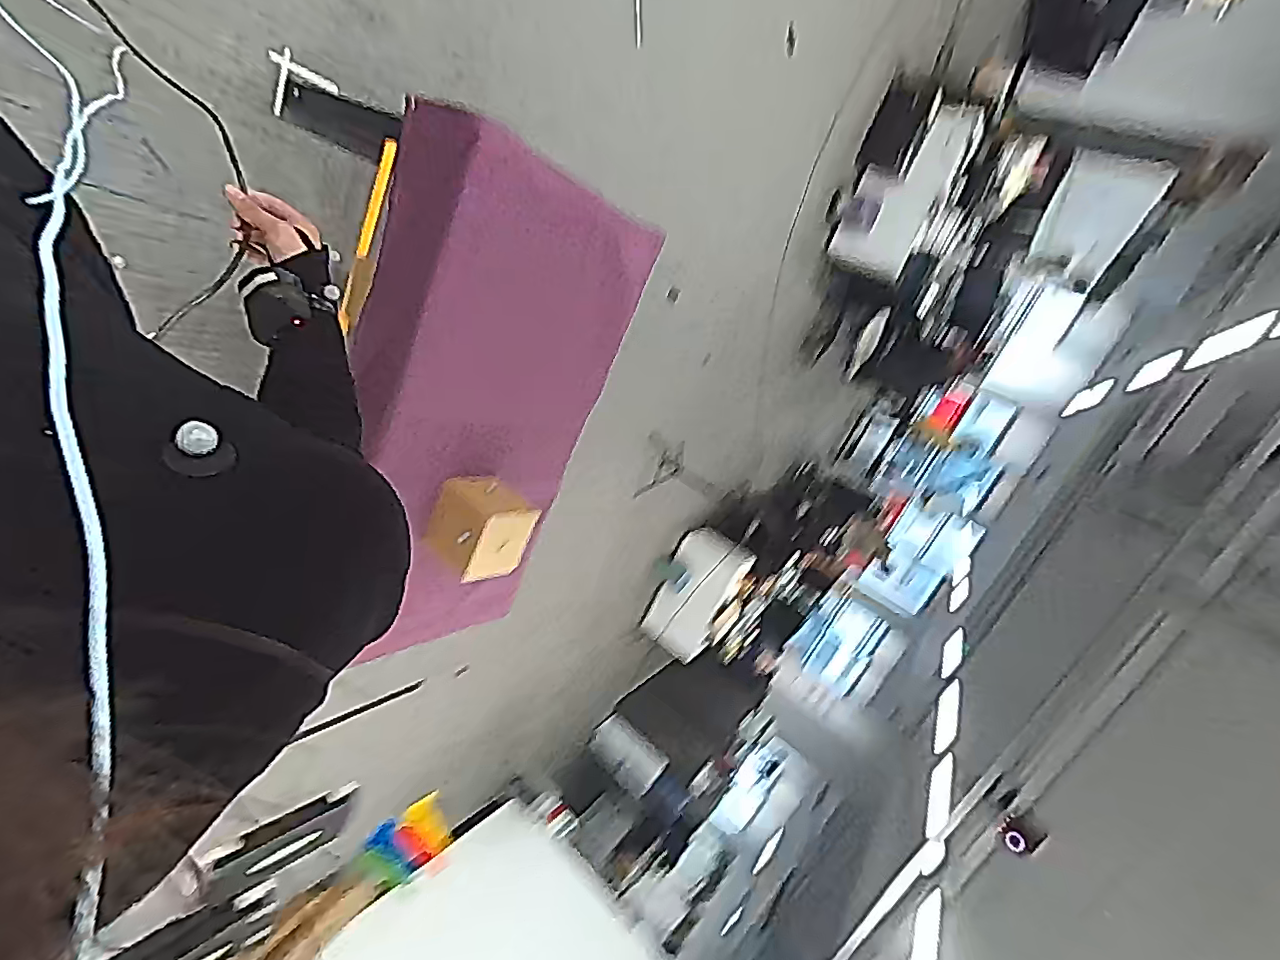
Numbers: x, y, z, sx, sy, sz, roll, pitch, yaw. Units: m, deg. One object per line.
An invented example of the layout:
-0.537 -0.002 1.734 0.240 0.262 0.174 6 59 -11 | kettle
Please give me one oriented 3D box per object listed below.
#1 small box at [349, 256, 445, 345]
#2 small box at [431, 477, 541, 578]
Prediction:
-0.683 -0.500 1.509 0.168 0.176 0.179 -11 130 -57 | small box
-0.377 0.109 1.309 0.168 0.176 0.179 -2 120 -60 | small box
